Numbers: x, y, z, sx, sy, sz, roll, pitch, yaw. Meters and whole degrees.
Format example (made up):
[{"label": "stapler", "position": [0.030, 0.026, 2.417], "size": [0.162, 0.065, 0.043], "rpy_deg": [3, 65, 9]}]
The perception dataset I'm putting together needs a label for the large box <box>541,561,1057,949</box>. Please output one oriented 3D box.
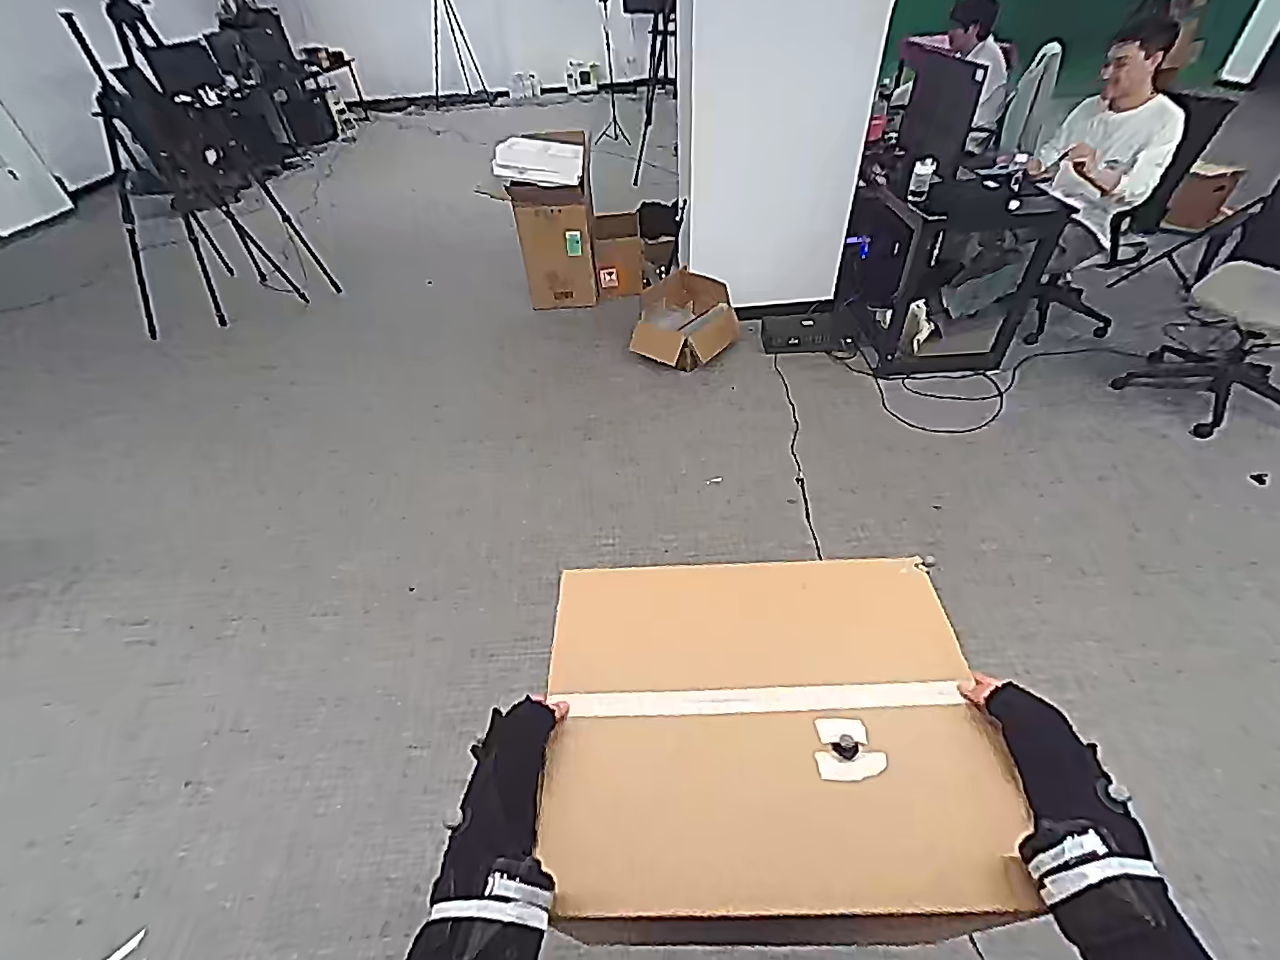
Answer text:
[{"label": "large box", "position": [0.123, 0.315, 0.619], "size": [0.408, 0.320, 0.320], "rpy_deg": [-2, 46, 2]}]
